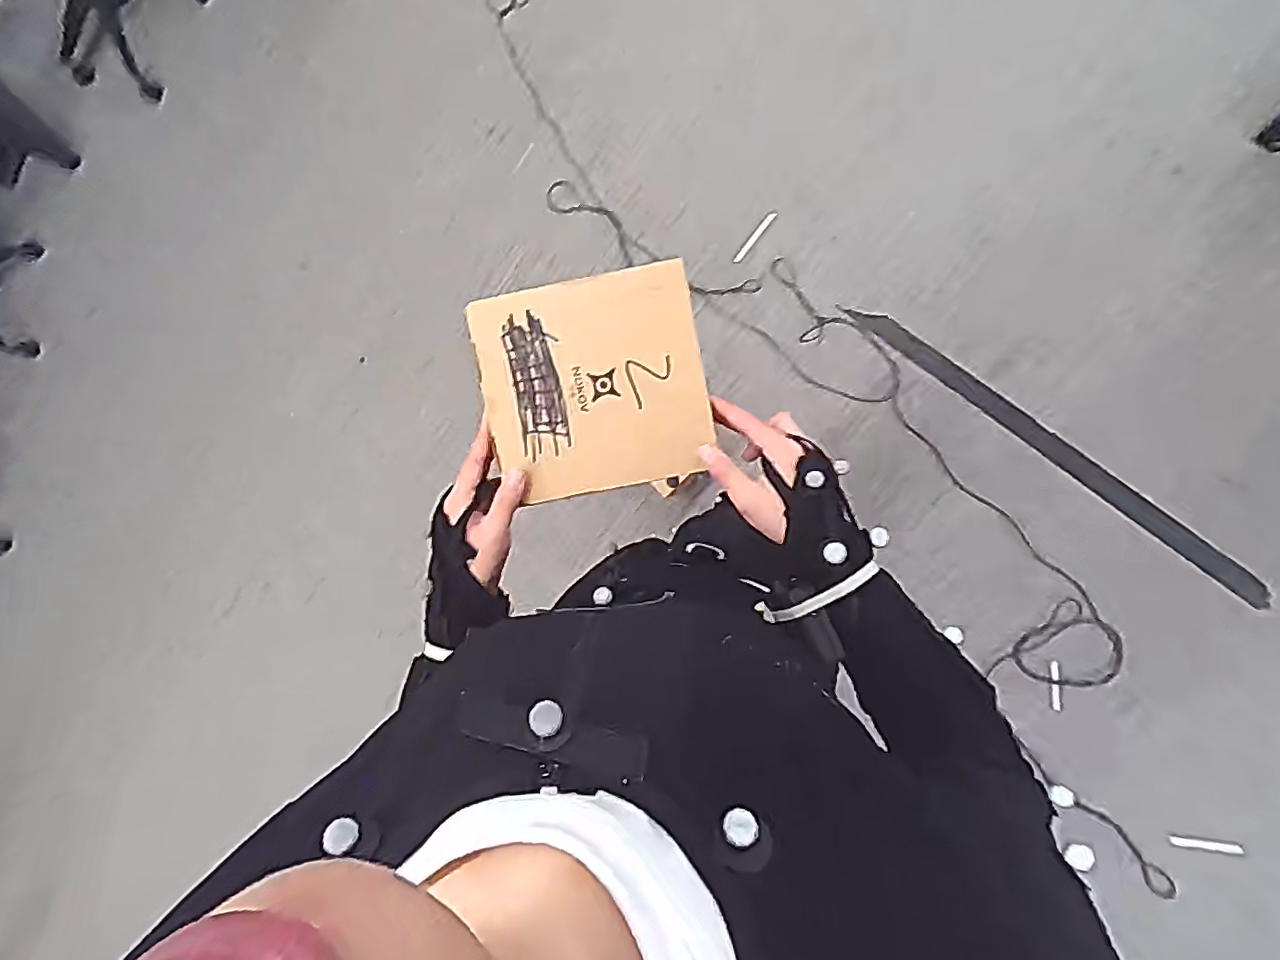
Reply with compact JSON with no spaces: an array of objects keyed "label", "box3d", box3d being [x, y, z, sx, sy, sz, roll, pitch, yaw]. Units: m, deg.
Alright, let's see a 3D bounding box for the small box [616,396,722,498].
[{"label":"small box","box3d":[0.075,-0.075,1.297,0.168,0.176,0.179,-45,81,12]}]
